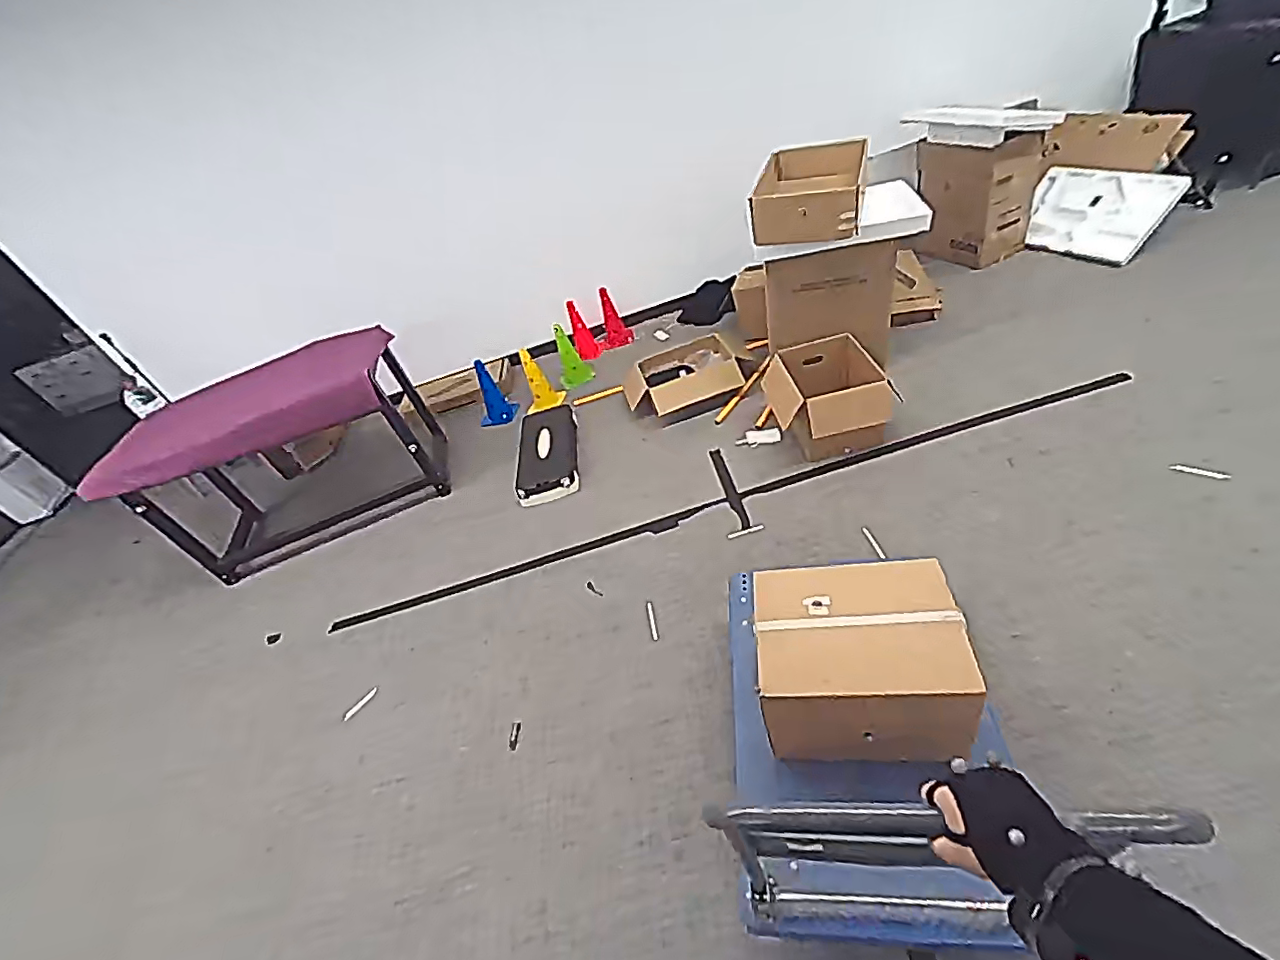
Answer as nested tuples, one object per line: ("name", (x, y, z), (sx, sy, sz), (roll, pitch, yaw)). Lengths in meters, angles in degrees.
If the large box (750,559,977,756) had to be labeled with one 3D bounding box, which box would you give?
("large box", (0.485, 0.415, 1.241), (0.408, 0.320, 0.320), (-9, 40, 15))
